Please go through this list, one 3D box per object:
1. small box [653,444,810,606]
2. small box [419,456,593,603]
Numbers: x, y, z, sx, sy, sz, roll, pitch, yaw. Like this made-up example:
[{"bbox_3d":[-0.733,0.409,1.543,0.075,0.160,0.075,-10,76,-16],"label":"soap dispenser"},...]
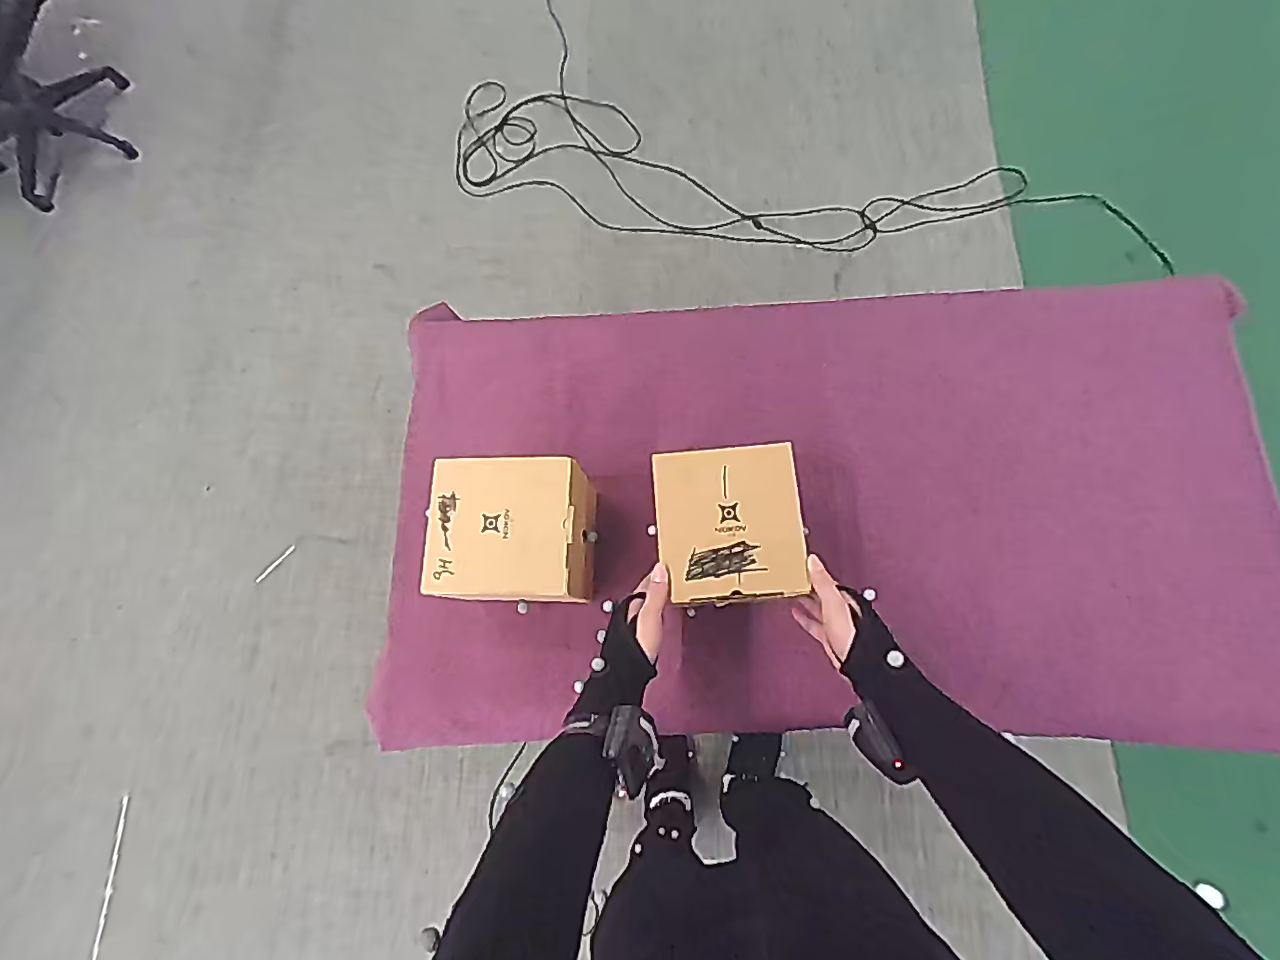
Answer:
[{"bbox_3d":[0.108,0.067,0.687,0.168,0.176,0.179,-5,74,4],"label":"small box"},{"bbox_3d":[-0.159,0.072,0.708,0.179,0.176,0.168,0,75,4],"label":"small box"}]
